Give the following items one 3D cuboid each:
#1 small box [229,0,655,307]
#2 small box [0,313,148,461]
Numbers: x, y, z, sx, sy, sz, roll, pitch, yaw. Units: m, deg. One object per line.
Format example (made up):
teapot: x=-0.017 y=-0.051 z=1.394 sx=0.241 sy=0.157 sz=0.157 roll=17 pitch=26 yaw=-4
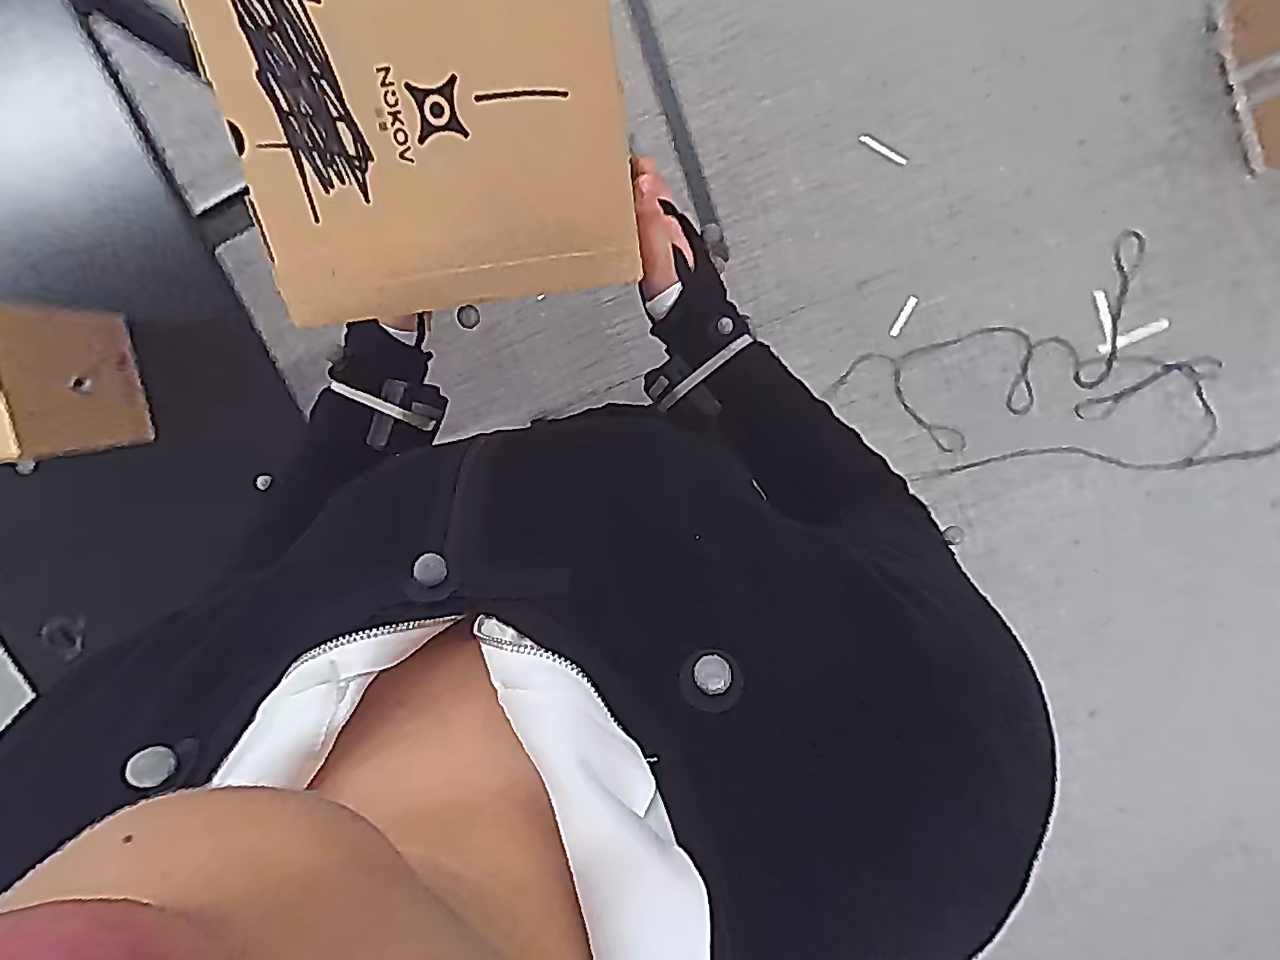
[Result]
small box: x=-0.084 y=-0.199 z=0.318 sx=0.179 sy=0.176 sz=0.168 roll=-6 pitch=113 yaw=2
small box: x=-0.771 y=-0.115 z=0.673 sx=0.179 sy=0.176 sz=0.168 roll=-4 pitch=101 yaw=3
